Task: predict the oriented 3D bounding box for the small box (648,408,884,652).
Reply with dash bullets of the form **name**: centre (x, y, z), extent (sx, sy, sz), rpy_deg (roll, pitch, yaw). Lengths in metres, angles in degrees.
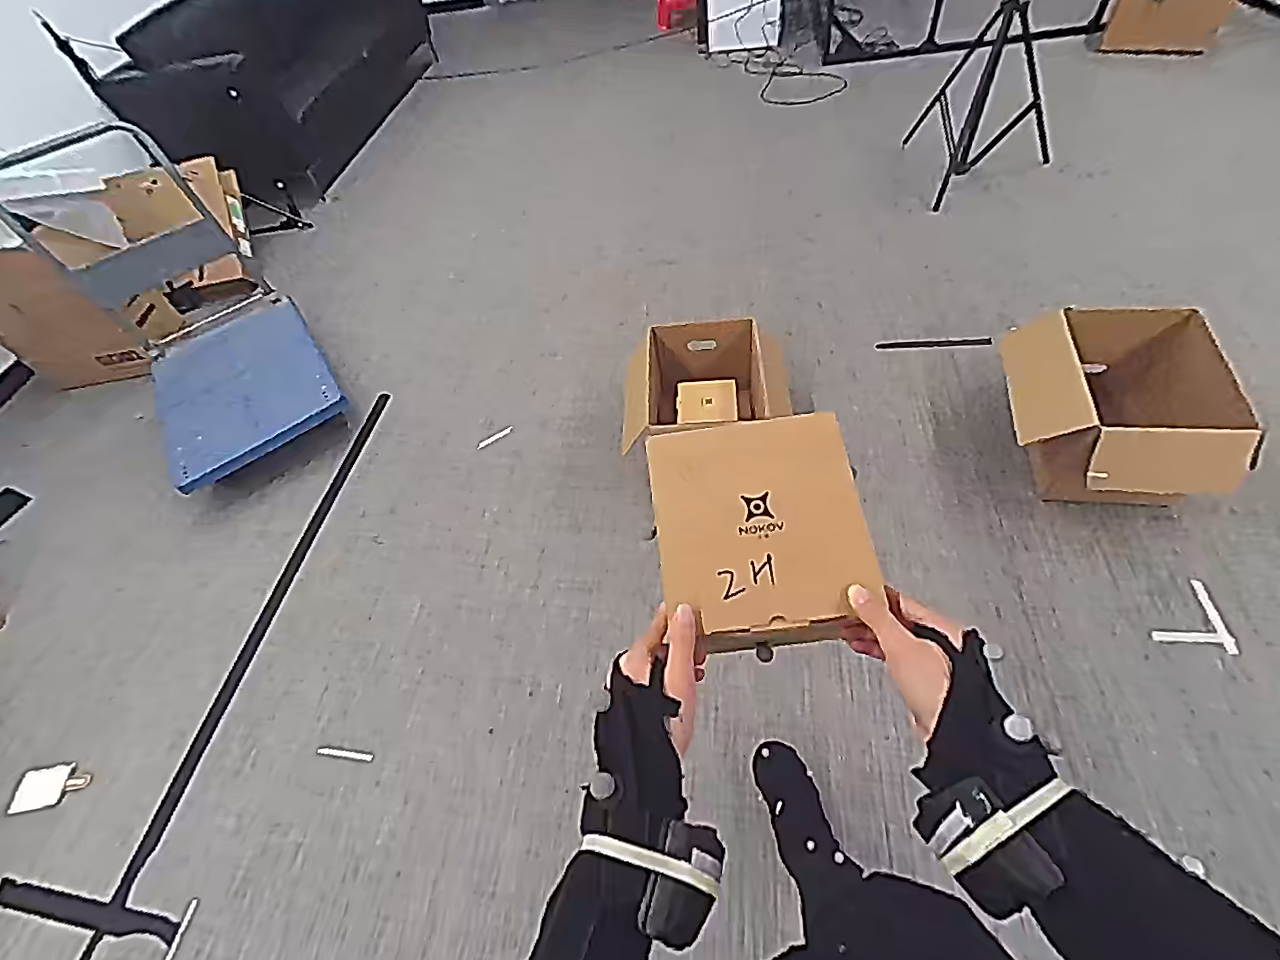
- **small box**: centre (0.101, 0.057, 0.510), extent (0.168, 0.176, 0.179), rpy_deg (-8, 67, 3)
